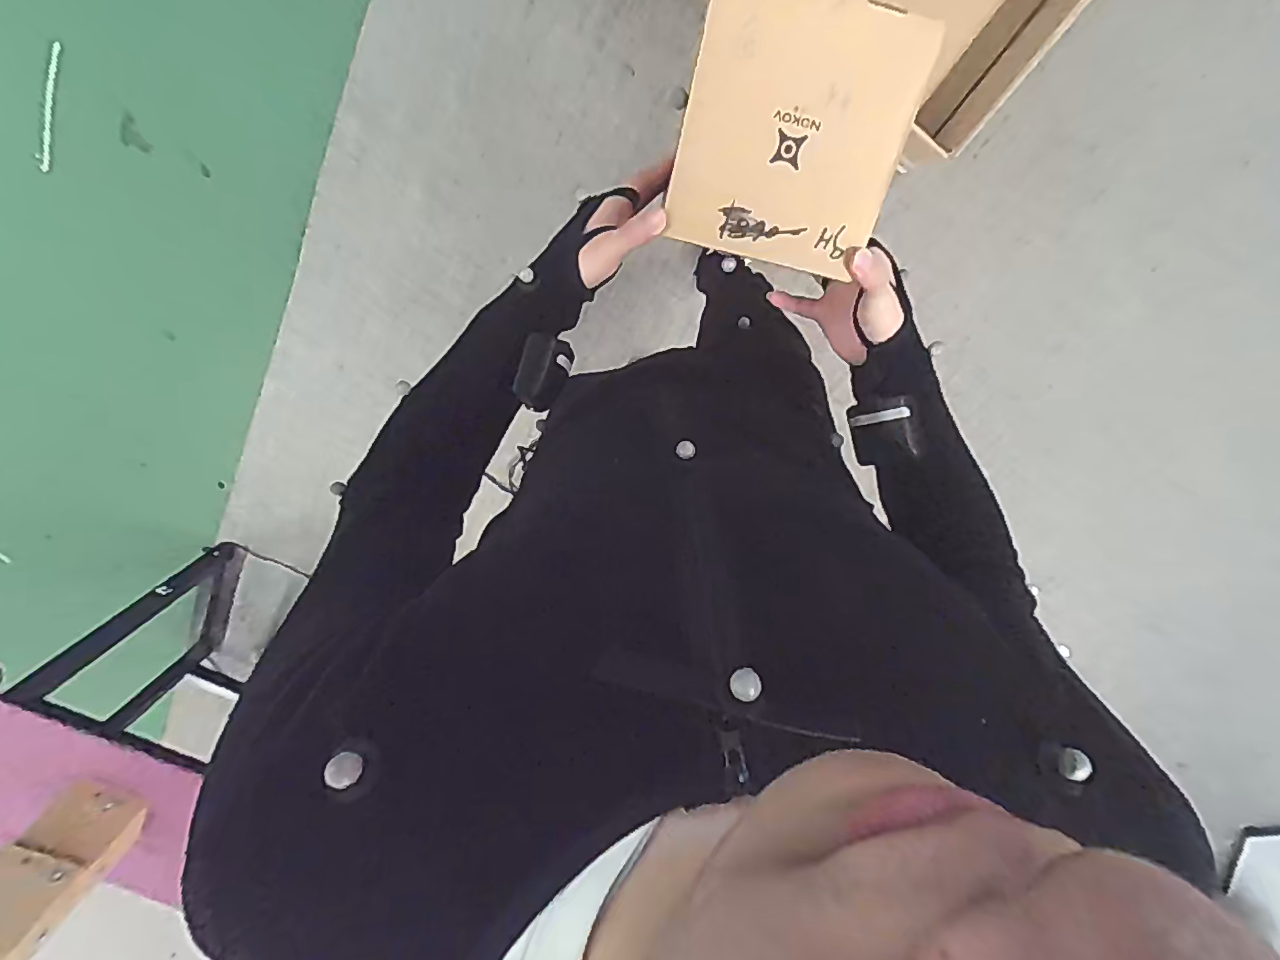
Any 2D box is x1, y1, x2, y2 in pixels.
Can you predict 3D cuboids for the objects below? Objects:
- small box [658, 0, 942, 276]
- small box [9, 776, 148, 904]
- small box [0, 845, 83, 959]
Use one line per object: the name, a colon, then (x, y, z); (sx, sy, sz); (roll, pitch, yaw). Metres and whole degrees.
small box: (0.113, -0.293, 0.473); (0.168, 0.176, 0.179); (12, 114, -5)
small box: (-1.330, 0.851, 1.285); (0.168, 0.176, 0.179); (30, 114, -11)
small box: (-1.329, 0.907, 1.130); (0.168, 0.176, 0.179); (28, 116, -10)
